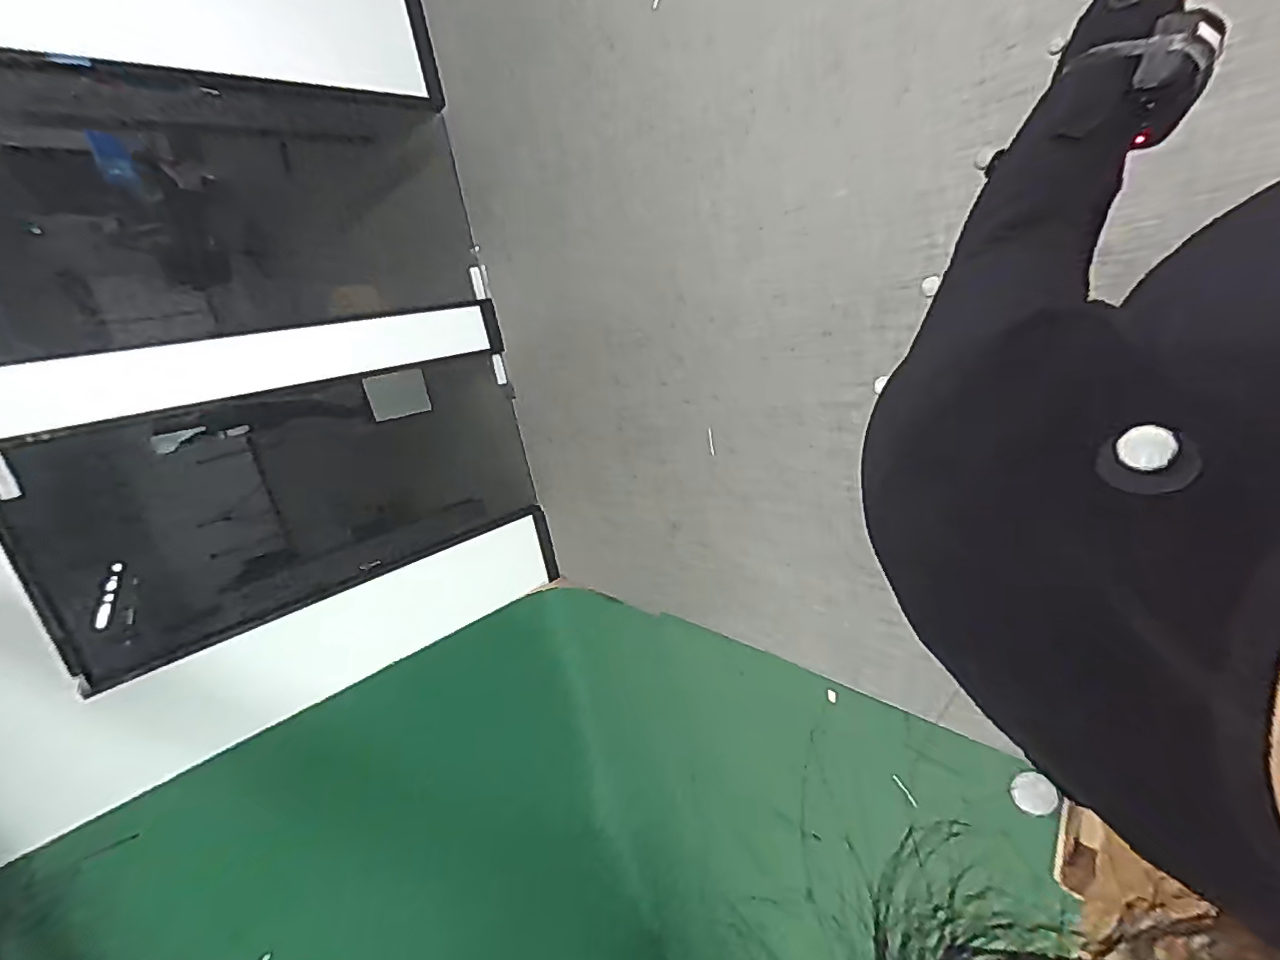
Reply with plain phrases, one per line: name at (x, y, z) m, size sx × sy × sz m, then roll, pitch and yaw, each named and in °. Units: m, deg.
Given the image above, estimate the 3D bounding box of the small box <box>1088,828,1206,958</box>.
small box at (1.046, 0.889, 1.129) m, size 0.168 × 0.176 × 0.179 m, roll 13°, pitch 115°, yaw 46°

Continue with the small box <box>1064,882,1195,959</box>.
small box at (0.925, 0.935, 1.028) m, size 0.168 × 0.176 × 0.179 m, roll 10°, pitch 115°, yaw 47°
